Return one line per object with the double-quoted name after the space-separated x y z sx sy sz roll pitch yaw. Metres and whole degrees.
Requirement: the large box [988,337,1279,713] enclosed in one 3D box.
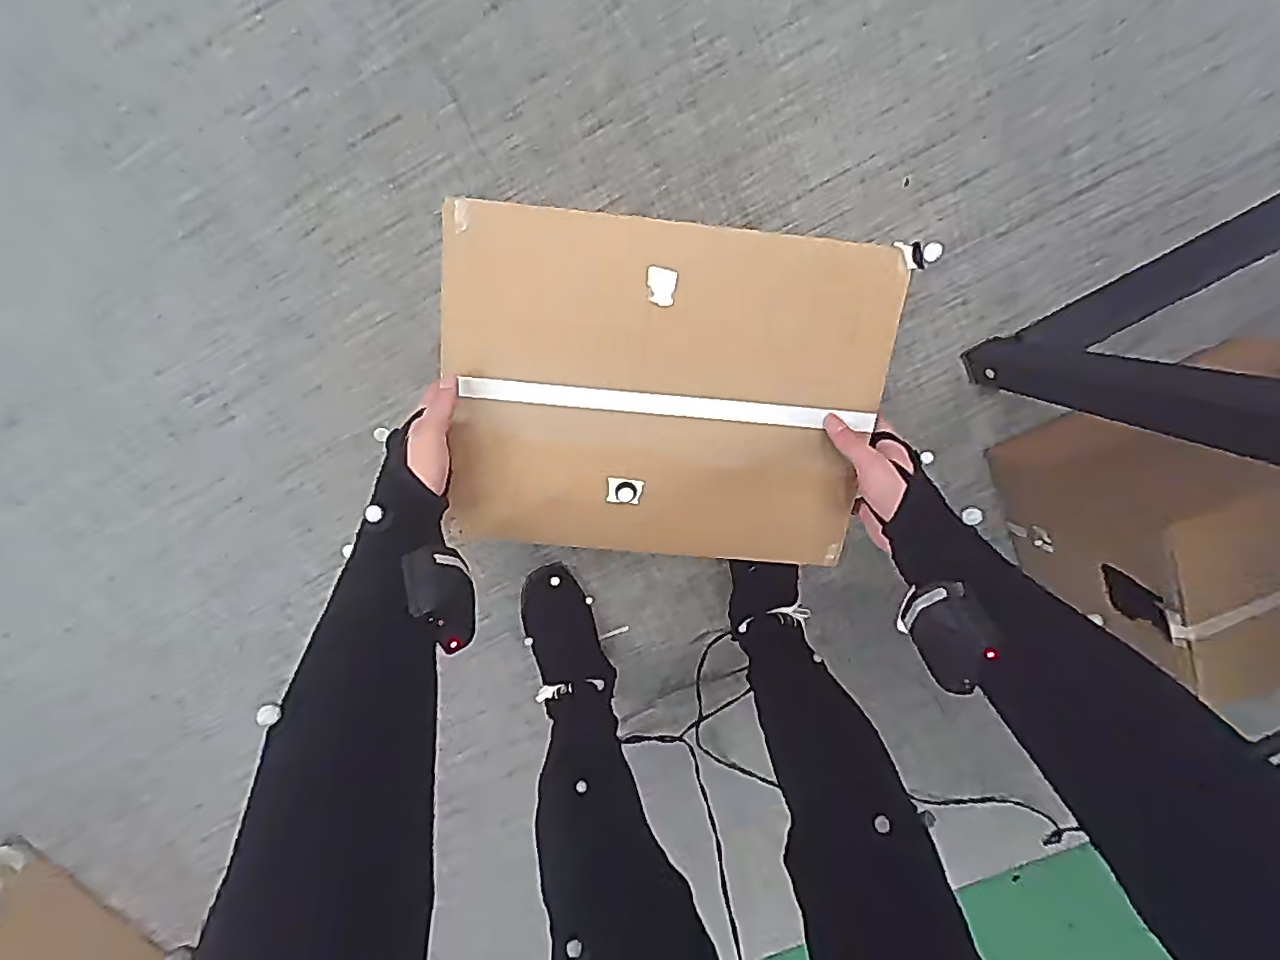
0.811 0.036 0.761 0.408 0.320 0.320 -27 109 6 "large box"
